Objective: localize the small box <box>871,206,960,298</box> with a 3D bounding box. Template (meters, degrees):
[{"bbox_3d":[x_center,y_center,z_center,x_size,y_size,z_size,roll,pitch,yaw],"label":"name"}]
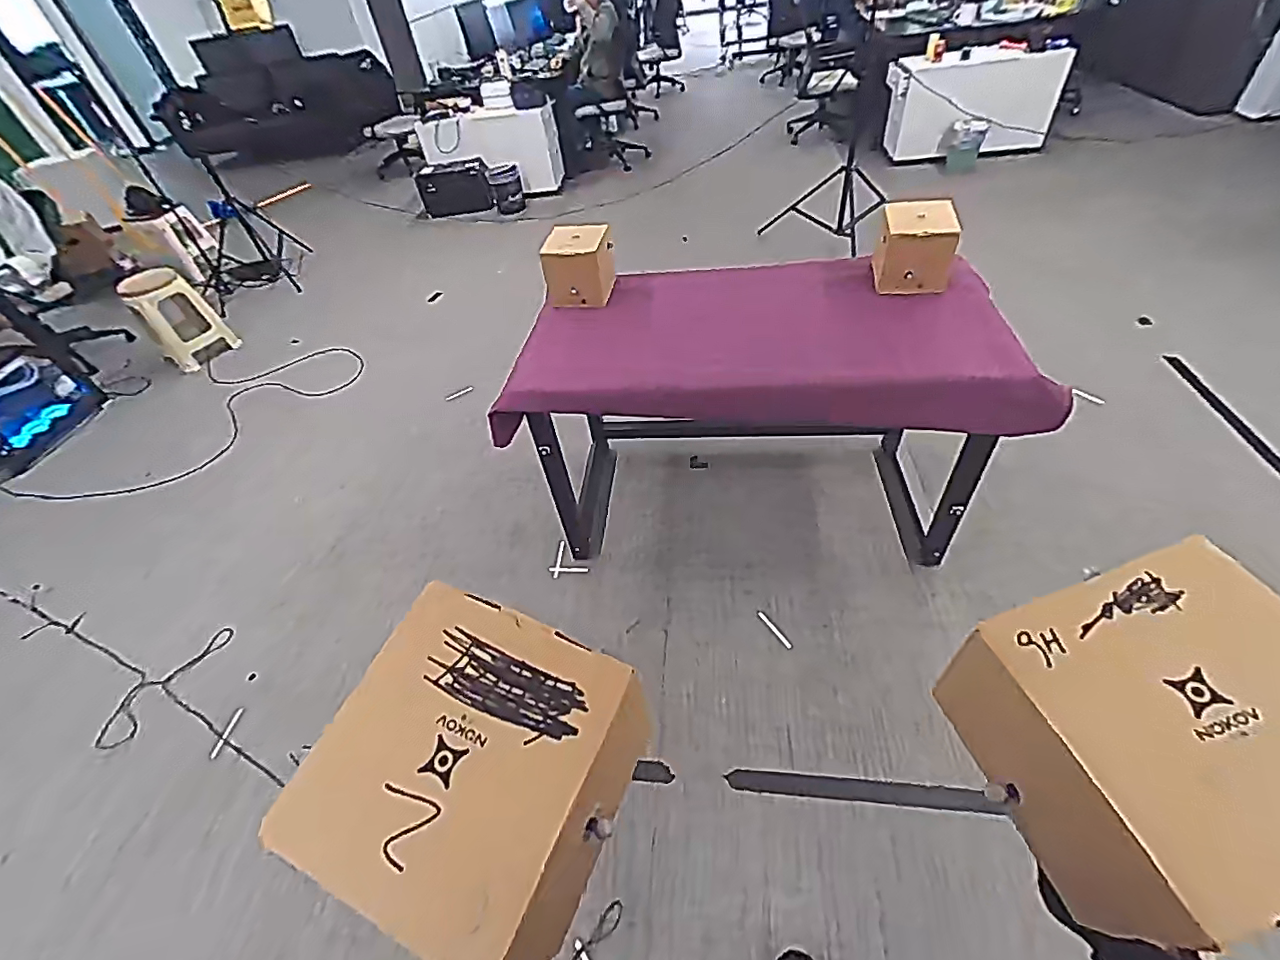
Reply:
[{"bbox_3d":[0.729,-0.611,1.452,0.168,0.176,0.179,3,51,12],"label":"small box"}]

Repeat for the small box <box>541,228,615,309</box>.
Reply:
[{"bbox_3d":[-0.175,-0.626,1.599,0.168,0.176,0.179,3,49,11],"label":"small box"}]

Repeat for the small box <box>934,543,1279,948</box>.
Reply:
[{"bbox_3d":[0.344,0.179,0.377,0.168,0.176,0.179,-21,53,0],"label":"small box"}]
